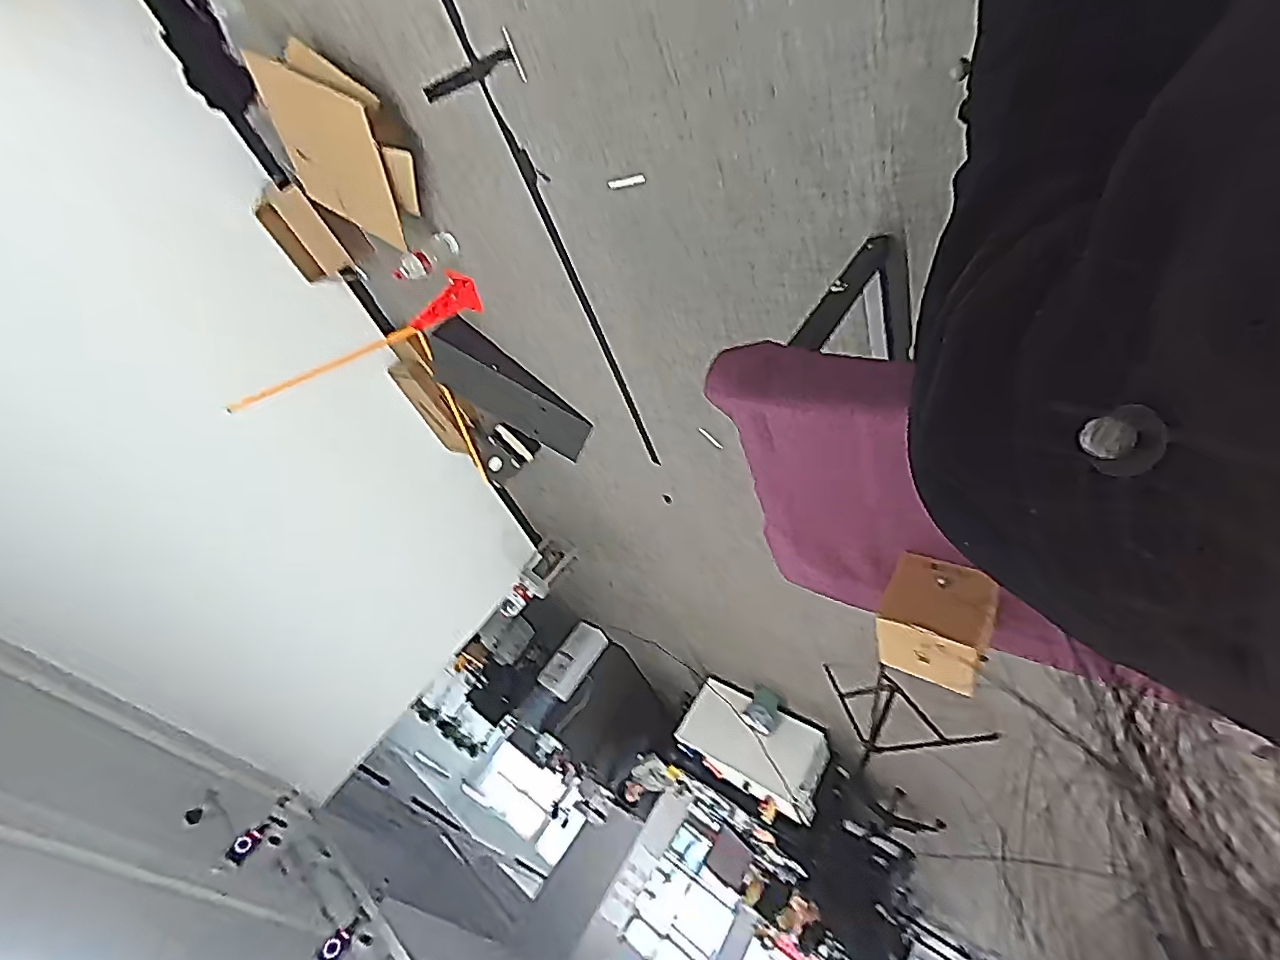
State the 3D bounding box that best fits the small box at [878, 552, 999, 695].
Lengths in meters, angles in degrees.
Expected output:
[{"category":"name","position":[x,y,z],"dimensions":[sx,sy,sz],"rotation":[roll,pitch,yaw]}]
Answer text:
[{"category":"small box","position":[0.578,0.272,1.046],"dimensions":[0.168,0.176,0.179],"rotation":[13,141,39]}]
